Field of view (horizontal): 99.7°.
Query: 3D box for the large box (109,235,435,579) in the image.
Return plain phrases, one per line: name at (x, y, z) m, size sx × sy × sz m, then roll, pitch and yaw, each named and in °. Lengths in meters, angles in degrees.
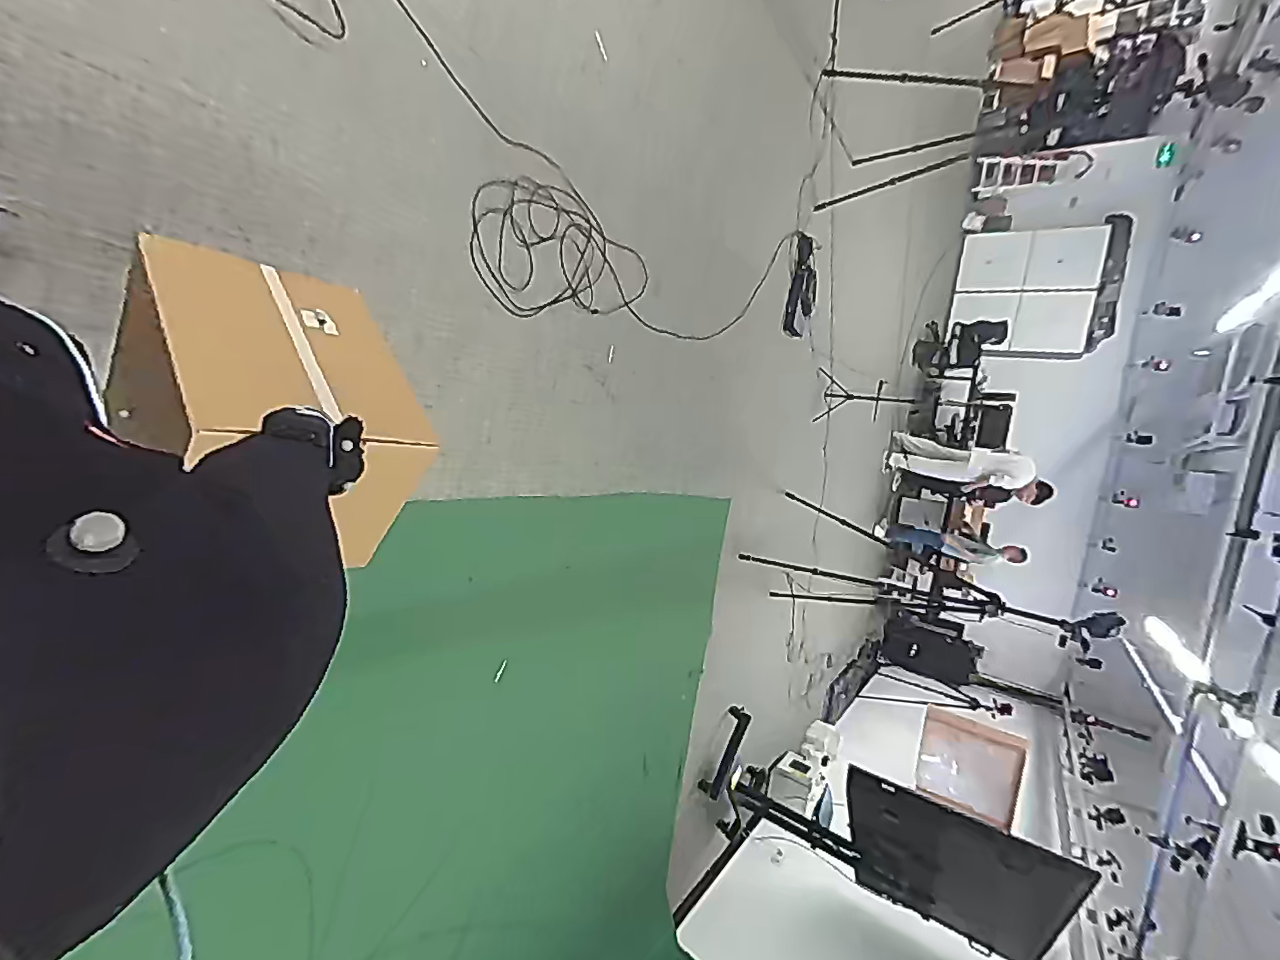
large box at (-0.608, -0.105, 0.881) m, size 0.320 × 0.408 × 0.320 m, roll -48°, pitch 153°, yaw 25°
